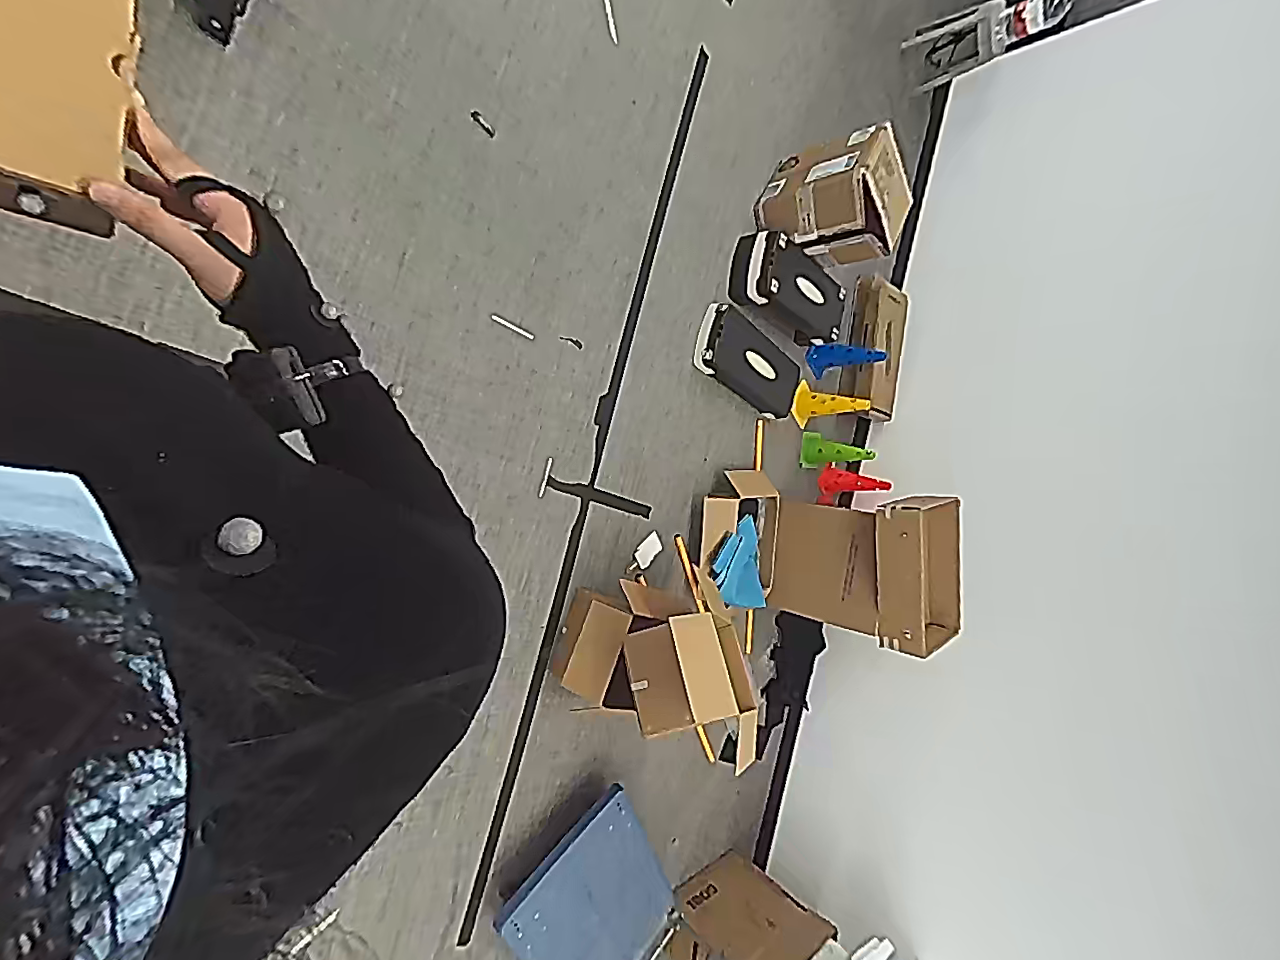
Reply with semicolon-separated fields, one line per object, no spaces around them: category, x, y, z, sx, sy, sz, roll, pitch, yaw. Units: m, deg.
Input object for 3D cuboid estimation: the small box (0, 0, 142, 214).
small box;-0.428;-0.282;0.324;0.179;0.176;0.168;5;96;-48
